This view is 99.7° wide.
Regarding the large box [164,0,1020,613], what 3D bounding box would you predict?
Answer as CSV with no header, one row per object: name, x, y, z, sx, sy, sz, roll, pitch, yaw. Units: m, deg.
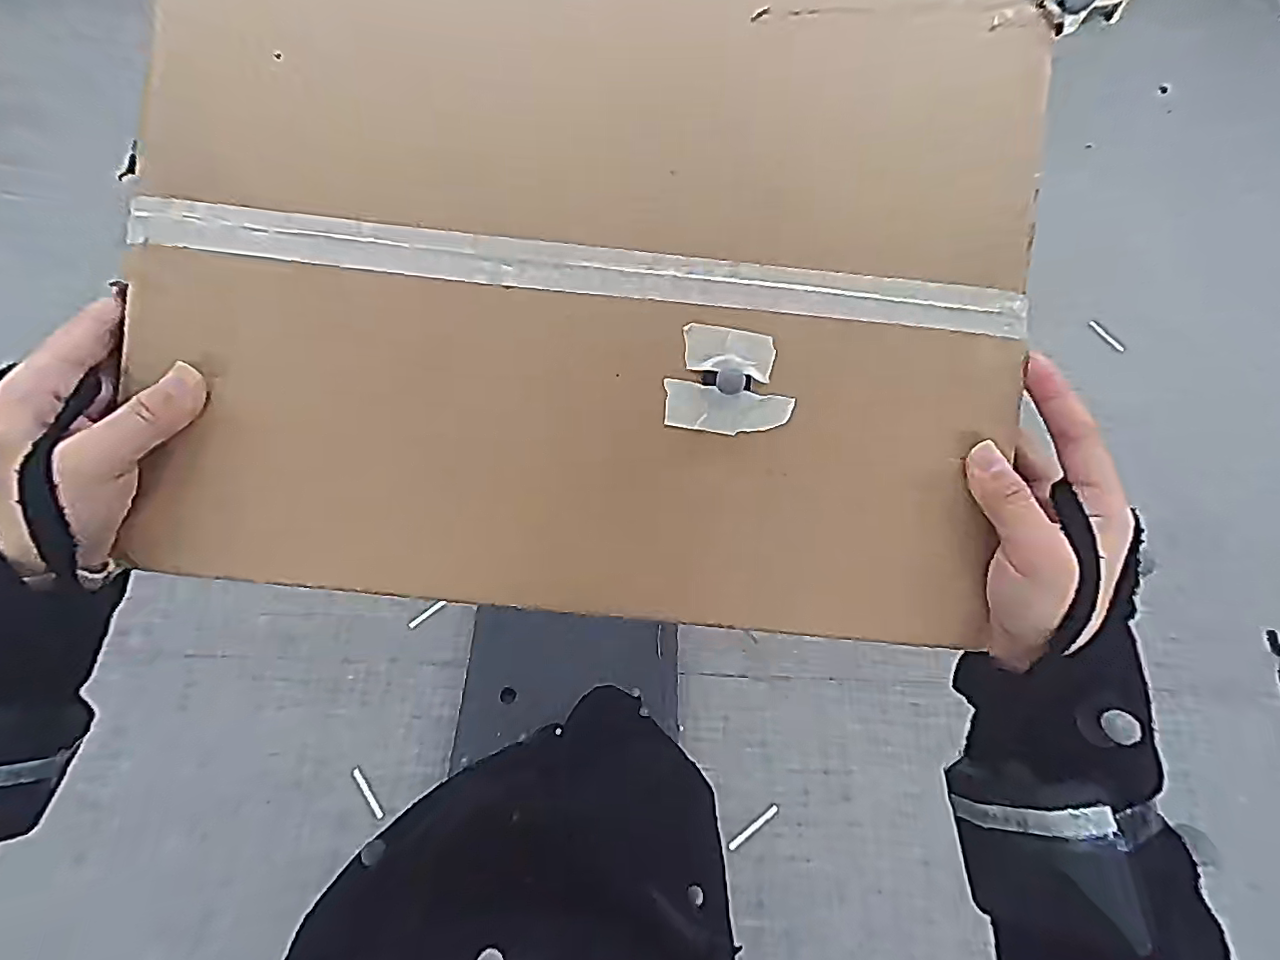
large box,-0.025,-0.102,0.414,0.408,0.320,0.320,6,91,-2
